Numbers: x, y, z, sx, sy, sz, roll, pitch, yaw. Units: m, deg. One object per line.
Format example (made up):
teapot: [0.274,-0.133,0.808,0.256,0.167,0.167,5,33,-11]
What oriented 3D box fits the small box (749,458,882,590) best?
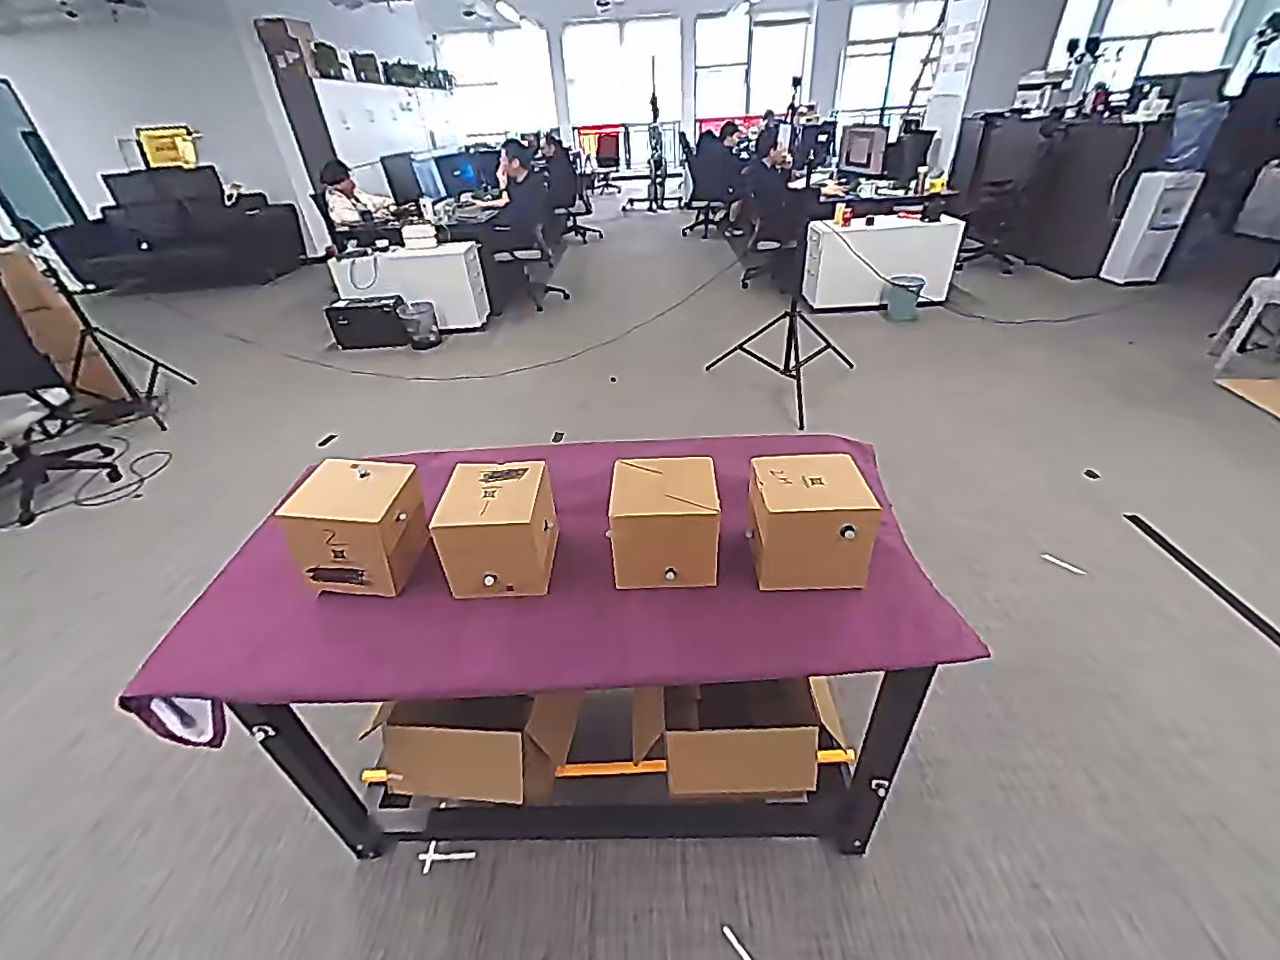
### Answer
small box: [0.291,0.076,0.940,0.179,0.176,0.168,-2,32,3]

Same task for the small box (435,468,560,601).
small box: [-0.242,0.095,0.972,0.168,0.176,0.179,-3,35,2]

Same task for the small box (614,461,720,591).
small box: [0.046,0.078,0.960,0.179,0.176,0.168,-3,33,3]
